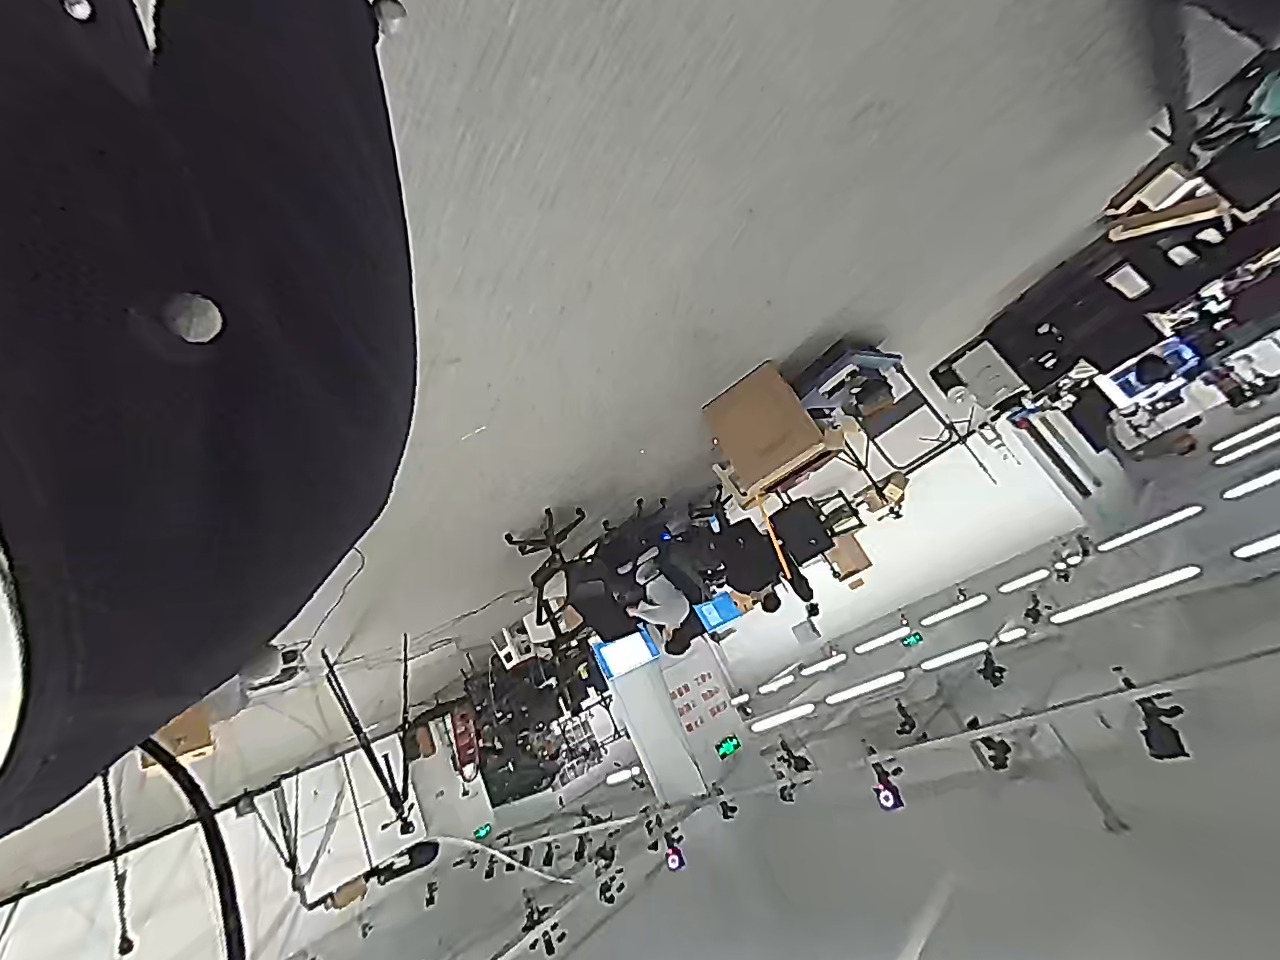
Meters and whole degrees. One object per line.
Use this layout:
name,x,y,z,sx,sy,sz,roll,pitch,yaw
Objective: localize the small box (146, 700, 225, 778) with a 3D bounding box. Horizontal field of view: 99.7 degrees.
small box,-1.524,0.865,1.818,0.179,0.176,0.168,-11,154,-39
